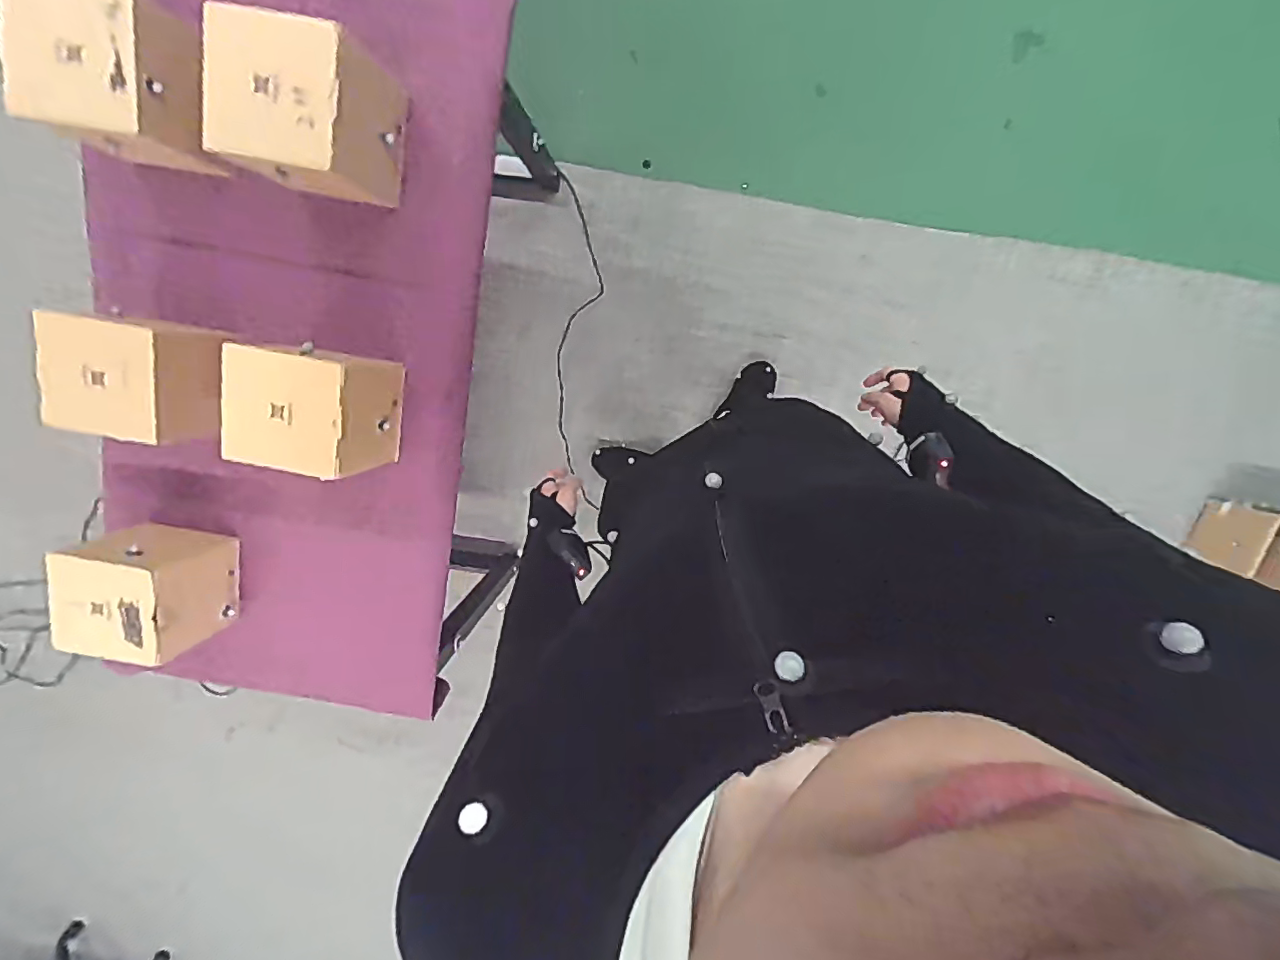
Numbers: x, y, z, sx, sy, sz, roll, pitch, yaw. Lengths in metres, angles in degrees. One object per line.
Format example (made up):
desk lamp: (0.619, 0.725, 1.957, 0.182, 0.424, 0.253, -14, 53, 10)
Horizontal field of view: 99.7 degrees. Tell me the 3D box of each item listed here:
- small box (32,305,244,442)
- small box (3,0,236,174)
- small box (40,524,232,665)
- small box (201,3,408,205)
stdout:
small box: (-0.766, -0.163, 0.840, 0.179, 0.176, 0.168, 11, 102, 1)
small box: (-0.710, -0.553, 0.757, 0.179, 0.176, 0.168, 10, 102, 1)
small box: (-0.830, 0.183, 0.909, 0.179, 0.176, 0.168, 10, 101, 2)
small box: (-0.453, -0.501, 0.748, 0.179, 0.176, 0.168, 12, 103, 3)
